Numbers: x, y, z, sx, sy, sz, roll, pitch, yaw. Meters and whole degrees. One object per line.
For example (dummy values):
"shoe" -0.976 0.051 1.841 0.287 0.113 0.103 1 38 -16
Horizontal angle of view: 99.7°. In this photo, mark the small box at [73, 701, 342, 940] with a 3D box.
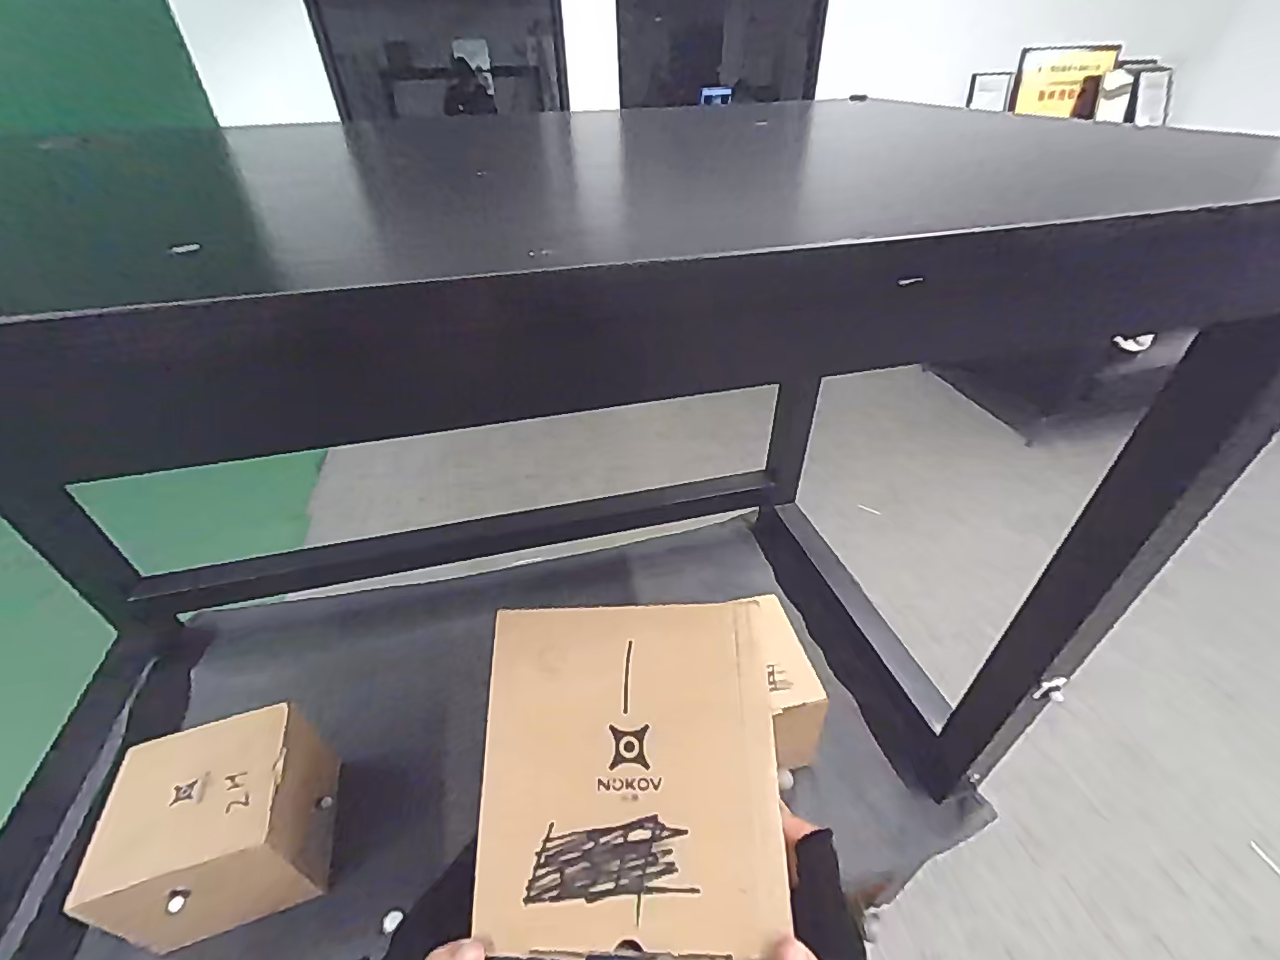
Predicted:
"small box" -0.487 0.405 0.648 0.179 0.176 0.168 -12 40 -14
